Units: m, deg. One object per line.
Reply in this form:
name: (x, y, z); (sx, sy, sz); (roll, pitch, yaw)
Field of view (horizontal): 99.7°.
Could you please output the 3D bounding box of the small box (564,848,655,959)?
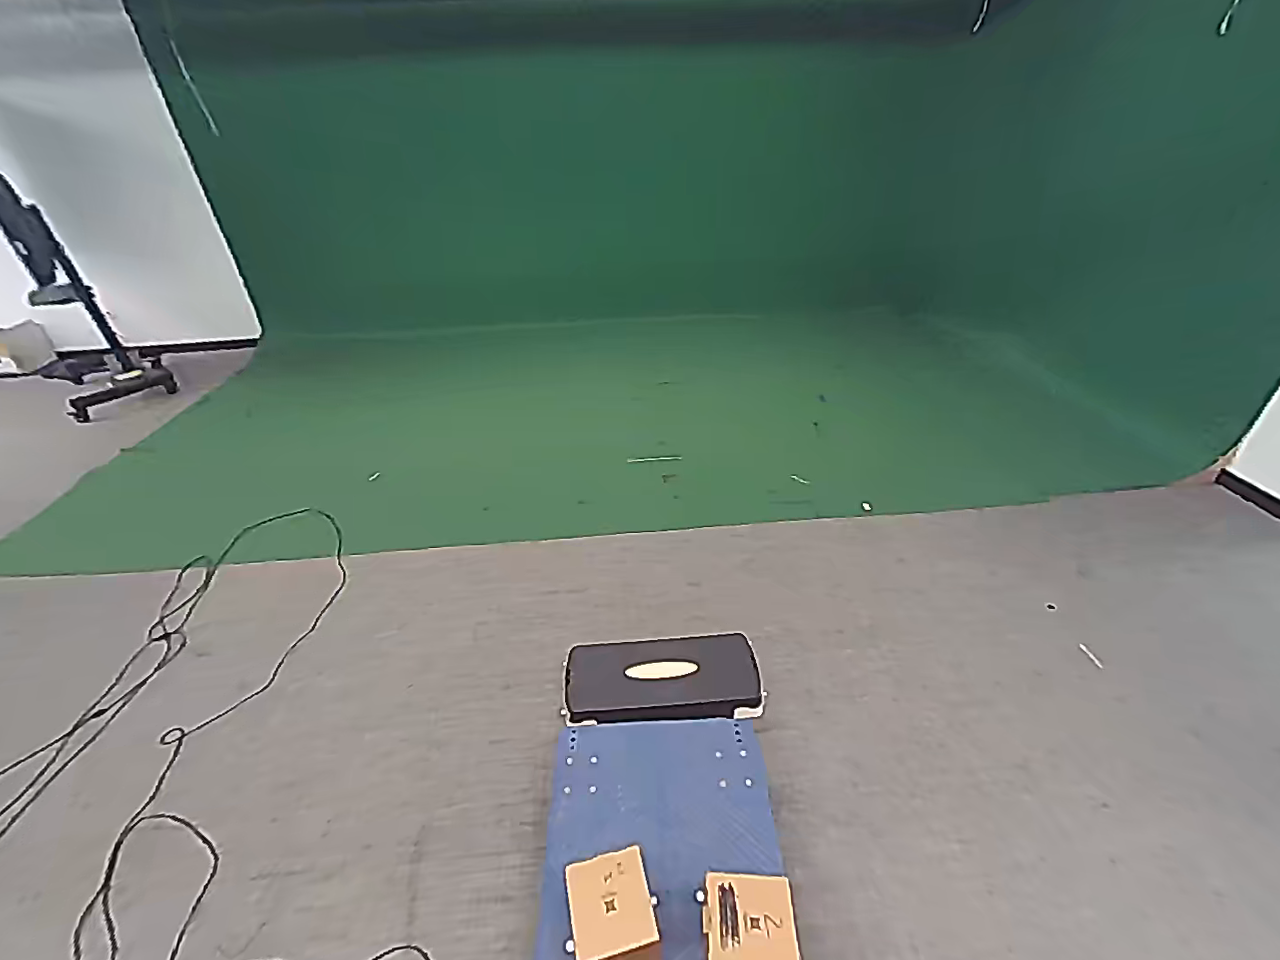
small box: (-0.065, 0.932, 1.150); (0.168, 0.176, 0.179); (-8, 35, -11)
